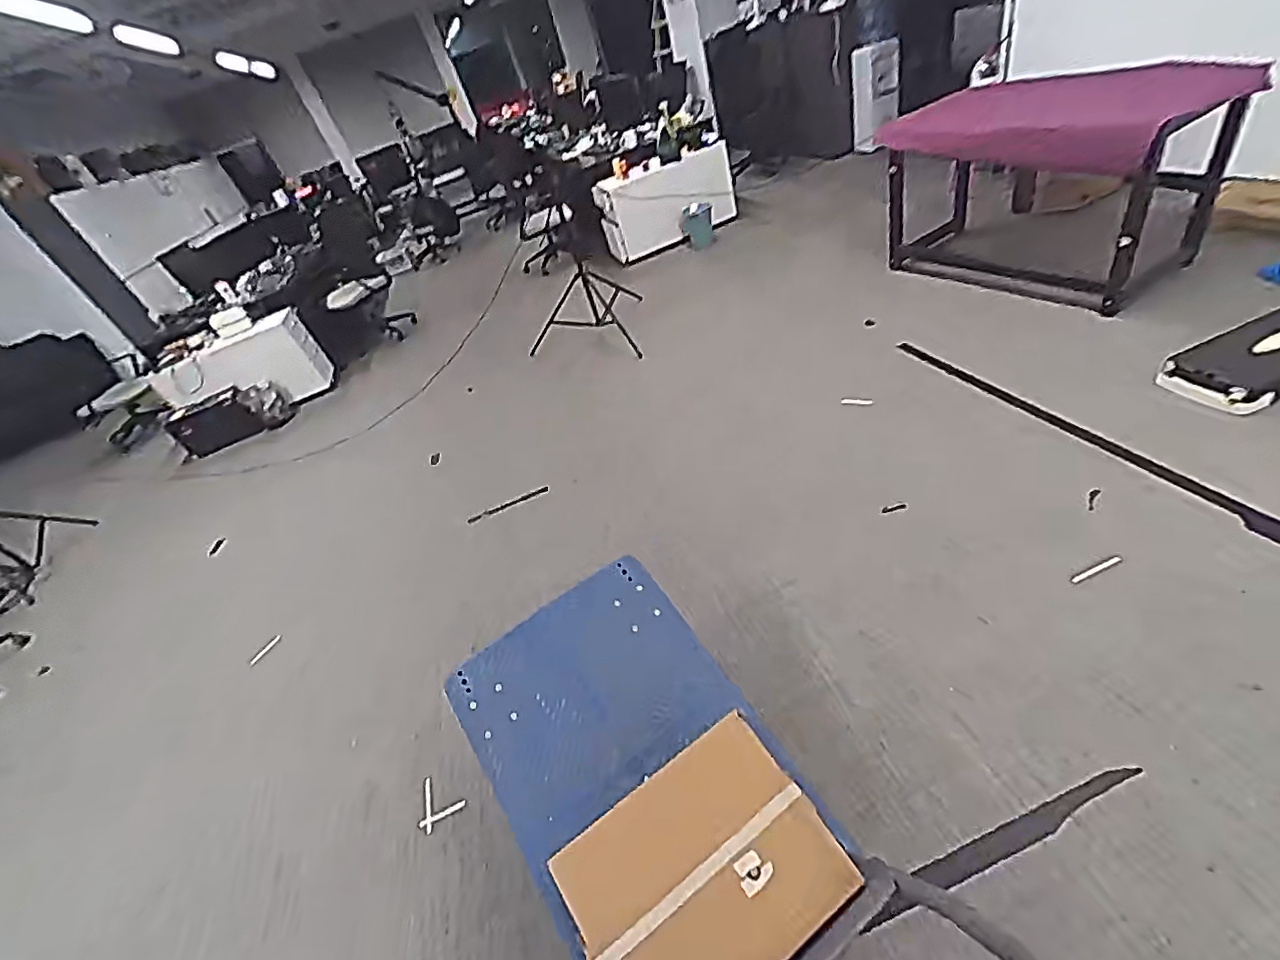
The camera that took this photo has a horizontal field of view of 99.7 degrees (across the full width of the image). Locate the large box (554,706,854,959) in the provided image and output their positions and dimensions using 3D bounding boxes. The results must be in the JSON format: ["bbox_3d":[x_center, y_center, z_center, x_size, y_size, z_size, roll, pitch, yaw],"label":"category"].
[{"bbox_3d":[0.109,0.704,1.009,0.408,0.320,0.320,-33,63,-16],"label":"large box"}]
